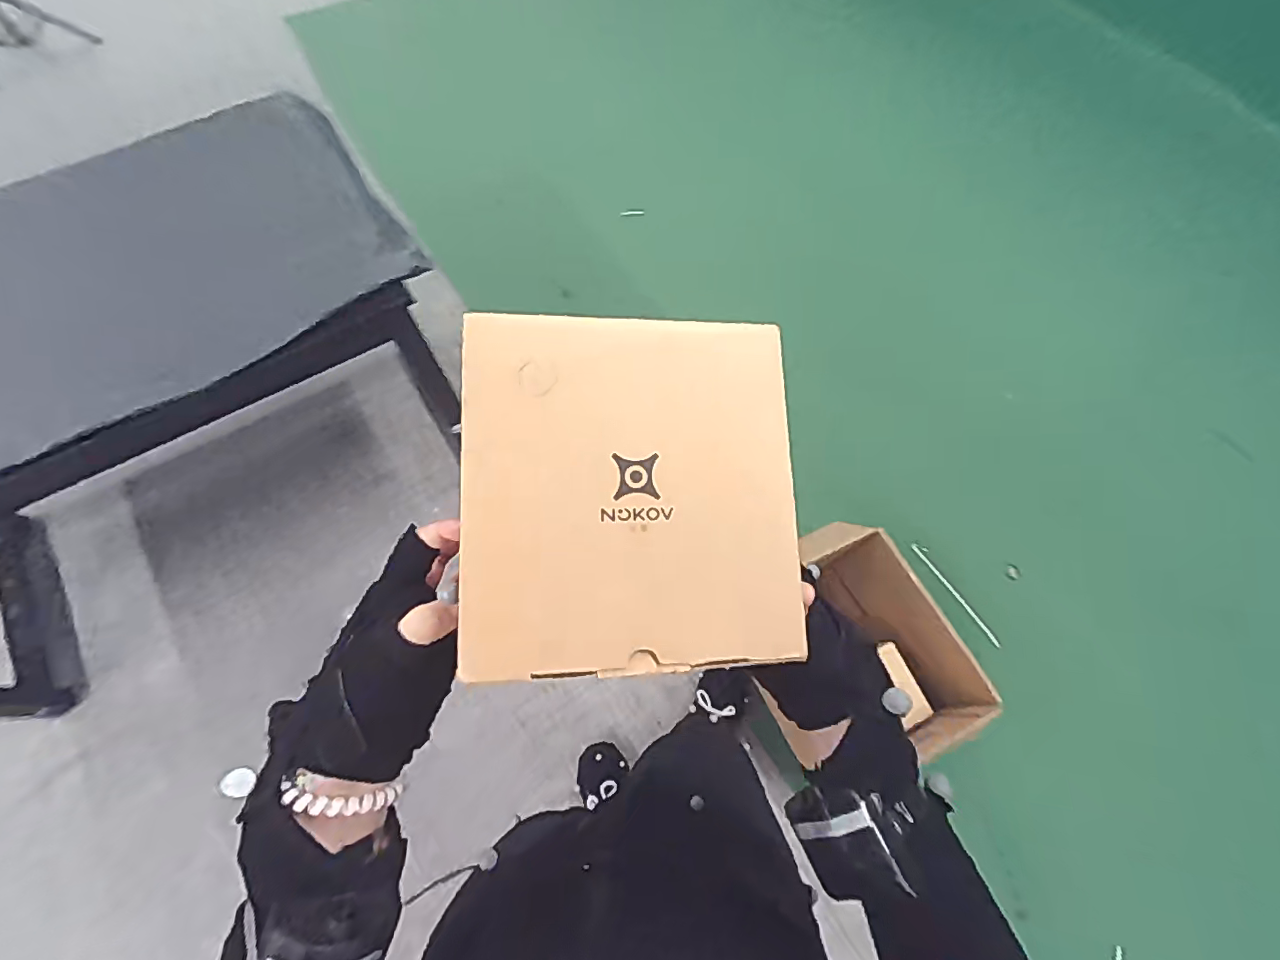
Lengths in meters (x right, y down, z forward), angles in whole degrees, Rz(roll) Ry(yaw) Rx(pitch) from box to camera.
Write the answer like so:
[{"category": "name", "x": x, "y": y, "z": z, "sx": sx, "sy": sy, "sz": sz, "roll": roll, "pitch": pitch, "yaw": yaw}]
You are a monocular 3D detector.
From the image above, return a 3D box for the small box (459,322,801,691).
[{"category": "small box", "x": -0.019, "y": 0.020, "z": 0.343, "sx": 0.168, "sy": 0.176, "sz": 0.179, "roll": -1, "pitch": 81, "yaw": -11}]
